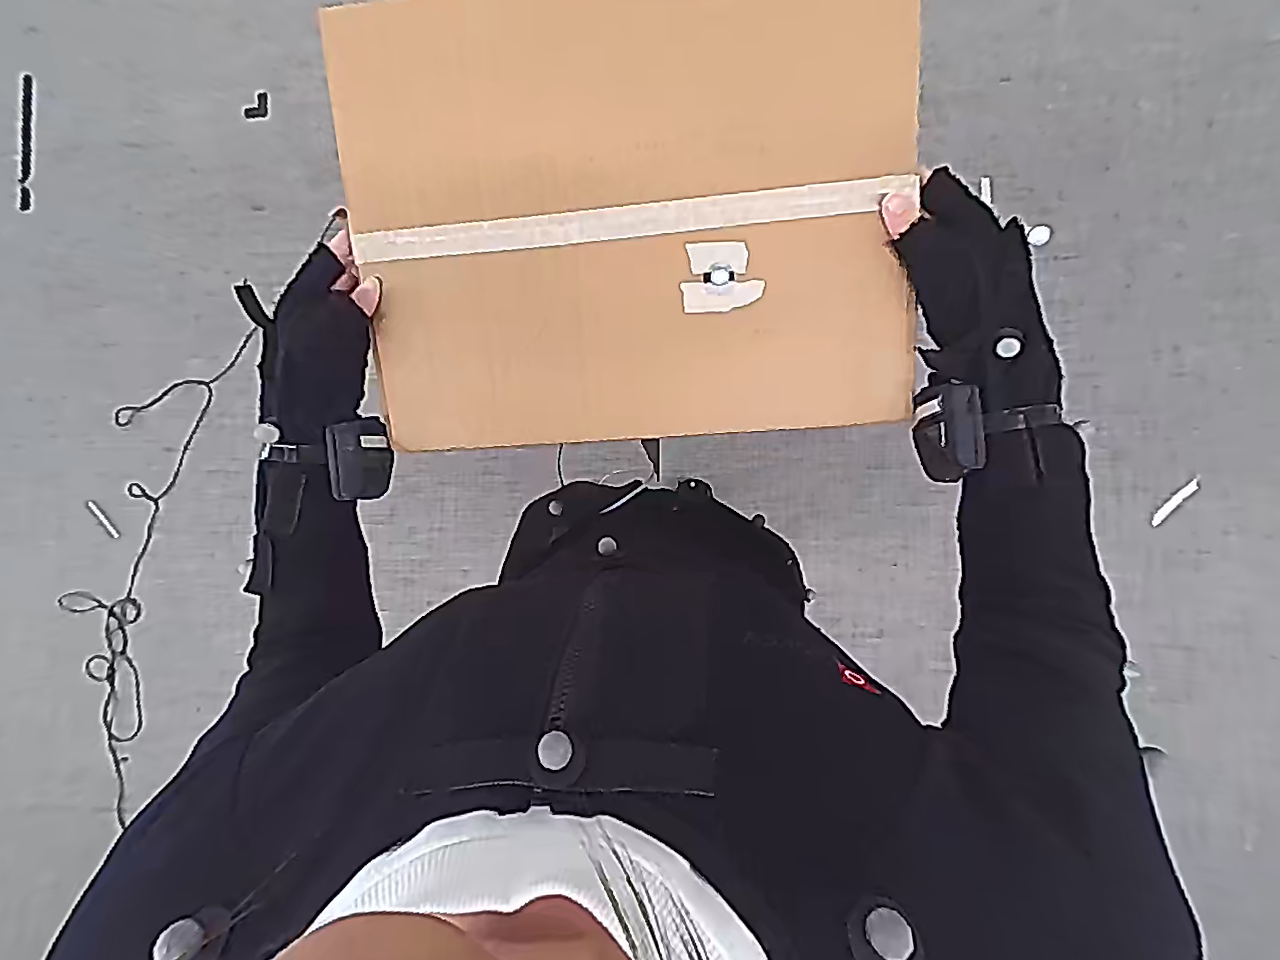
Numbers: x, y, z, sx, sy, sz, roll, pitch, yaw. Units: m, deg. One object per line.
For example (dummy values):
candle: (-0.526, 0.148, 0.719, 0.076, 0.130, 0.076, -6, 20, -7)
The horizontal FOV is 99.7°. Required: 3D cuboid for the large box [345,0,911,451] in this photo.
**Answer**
large box: (0.004, -0.217, 0.547, 0.408, 0.320, 0.320, -4, 102, 5)
